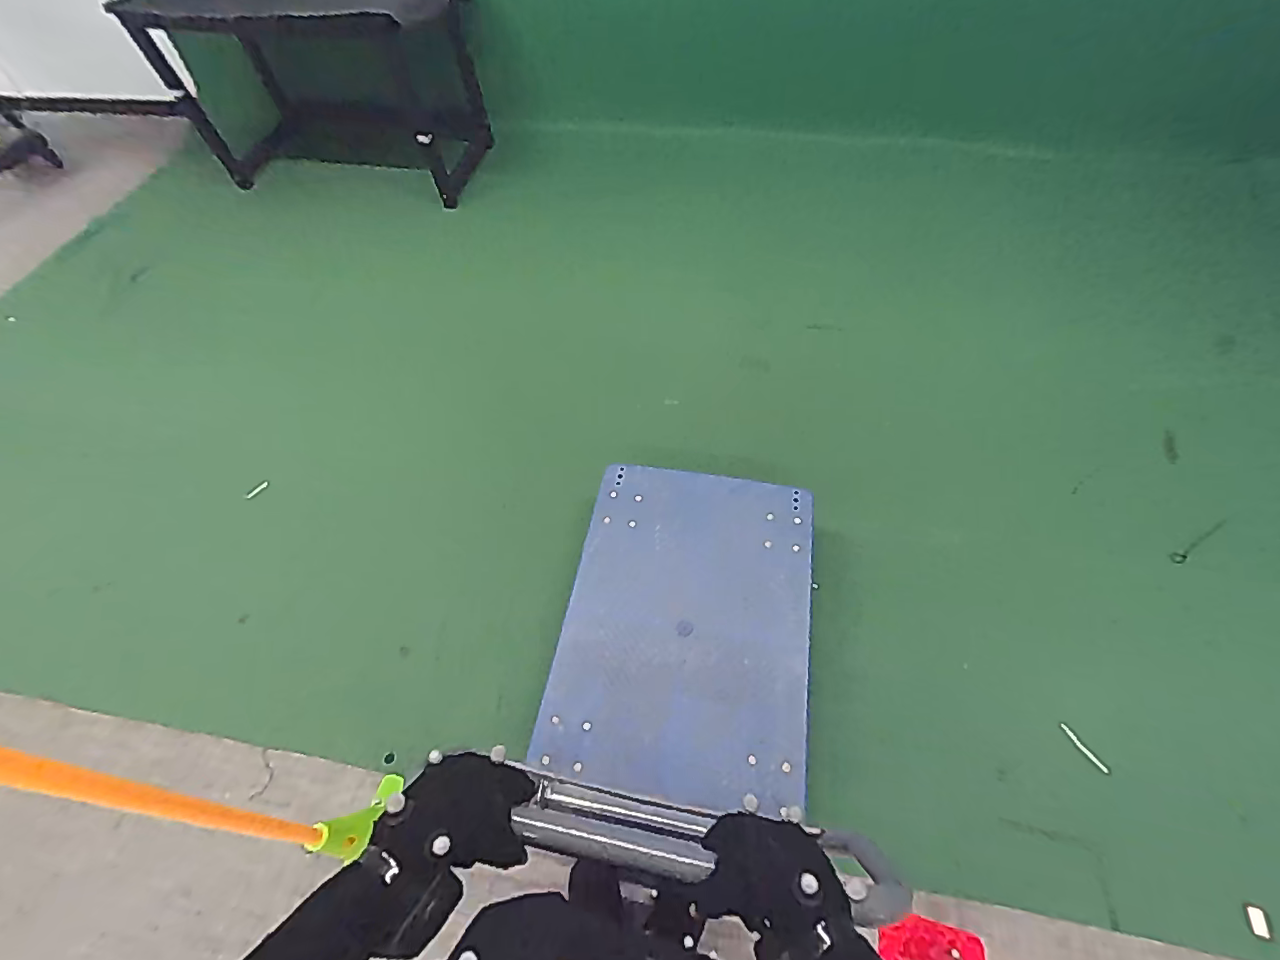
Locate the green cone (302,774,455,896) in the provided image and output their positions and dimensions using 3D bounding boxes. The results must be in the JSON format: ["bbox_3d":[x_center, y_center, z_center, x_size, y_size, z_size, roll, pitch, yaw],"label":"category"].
[{"bbox_3d":[-0.553,0.708,1.088,0.202,0.368,0.200,11,58,11],"label":"green cone"}]
